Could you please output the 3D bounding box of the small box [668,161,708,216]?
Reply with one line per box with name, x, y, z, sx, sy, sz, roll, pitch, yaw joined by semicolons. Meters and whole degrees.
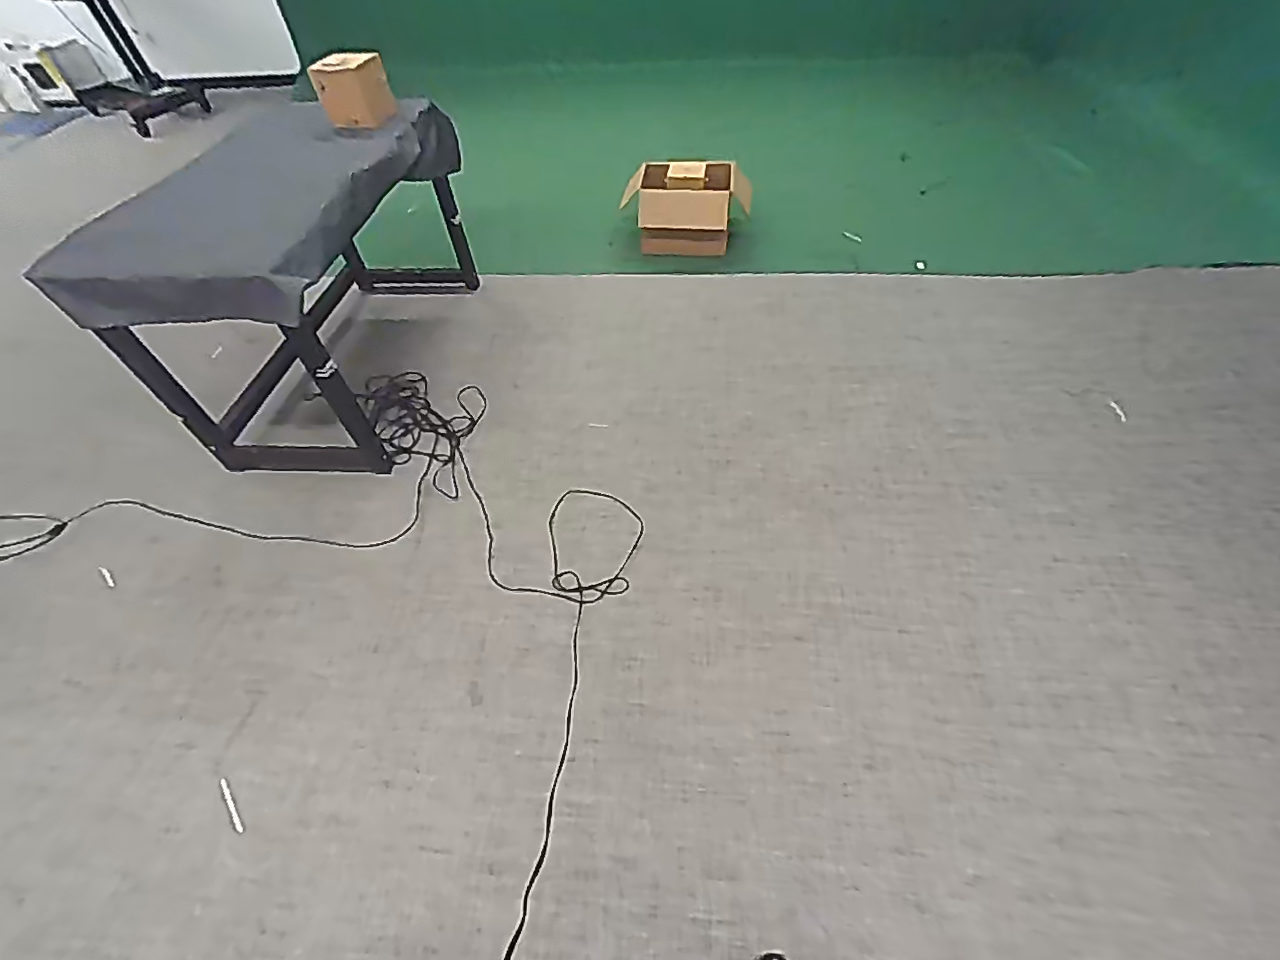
small box;0.221;-1.338;2.481;0.168;0.176;0.179;5;51;7
